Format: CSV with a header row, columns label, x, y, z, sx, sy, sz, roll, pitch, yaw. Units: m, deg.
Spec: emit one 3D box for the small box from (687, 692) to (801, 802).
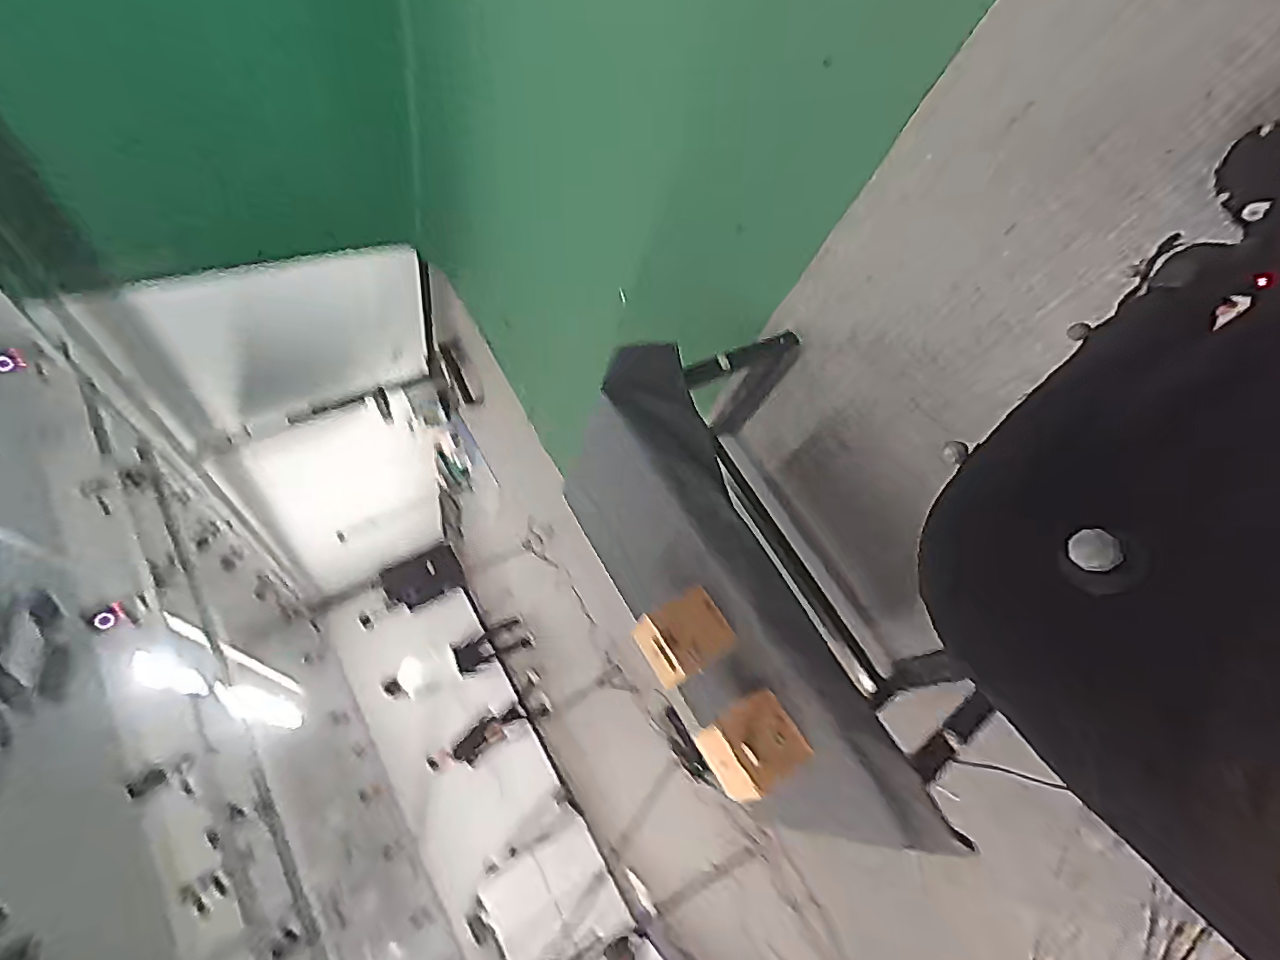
label,x,y,z,sx,sy,sz,roll,pitch,yaw
small box,0.242,0.624,1.267,0.168,0.176,0.179,56,150,20
